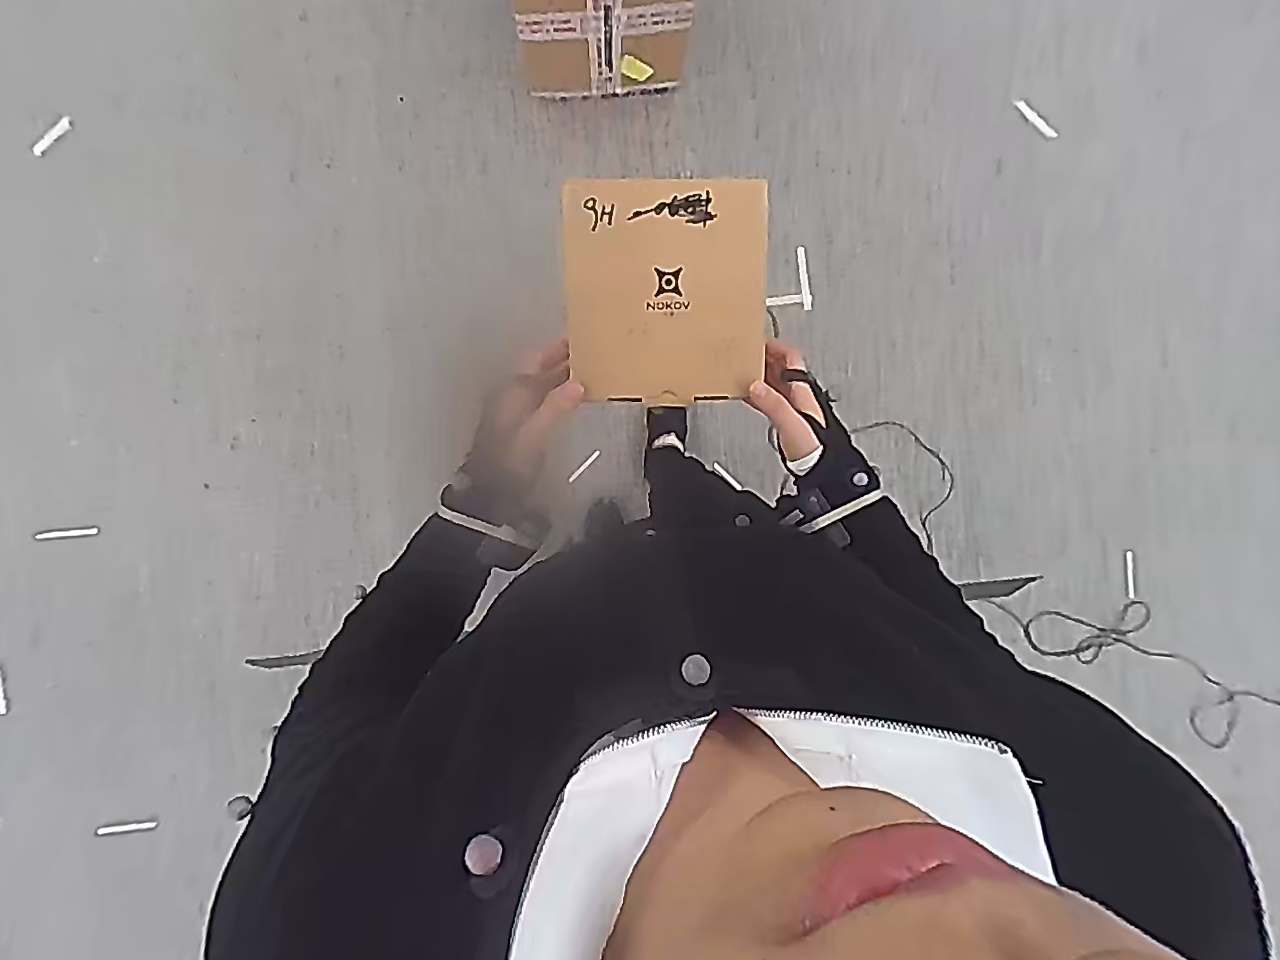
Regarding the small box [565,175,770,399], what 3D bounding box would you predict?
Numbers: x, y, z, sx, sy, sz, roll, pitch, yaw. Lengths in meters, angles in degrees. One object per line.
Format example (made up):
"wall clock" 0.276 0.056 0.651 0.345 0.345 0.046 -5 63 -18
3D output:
"small box" 0.020 -0.172 0.523 0.168 0.176 0.179 -2 101 -2
